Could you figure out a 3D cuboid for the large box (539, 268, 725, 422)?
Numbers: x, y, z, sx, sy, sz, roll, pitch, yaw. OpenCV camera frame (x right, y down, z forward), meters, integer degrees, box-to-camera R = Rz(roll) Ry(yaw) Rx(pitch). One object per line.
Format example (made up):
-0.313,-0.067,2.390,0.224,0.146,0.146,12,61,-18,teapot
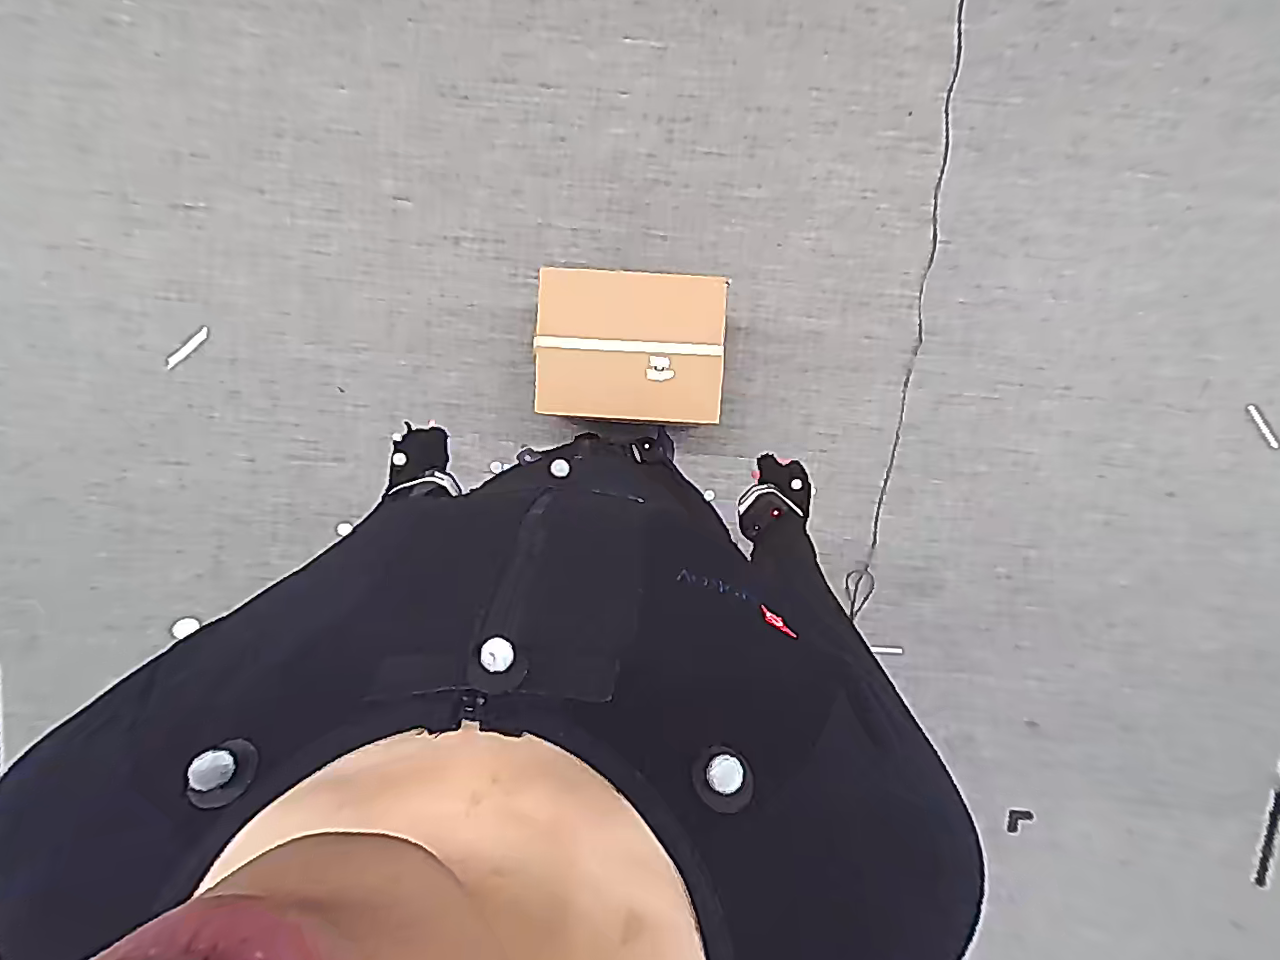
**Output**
-0.022,-0.306,1.320,0.408,0.320,0.320,3,95,-1,large box
